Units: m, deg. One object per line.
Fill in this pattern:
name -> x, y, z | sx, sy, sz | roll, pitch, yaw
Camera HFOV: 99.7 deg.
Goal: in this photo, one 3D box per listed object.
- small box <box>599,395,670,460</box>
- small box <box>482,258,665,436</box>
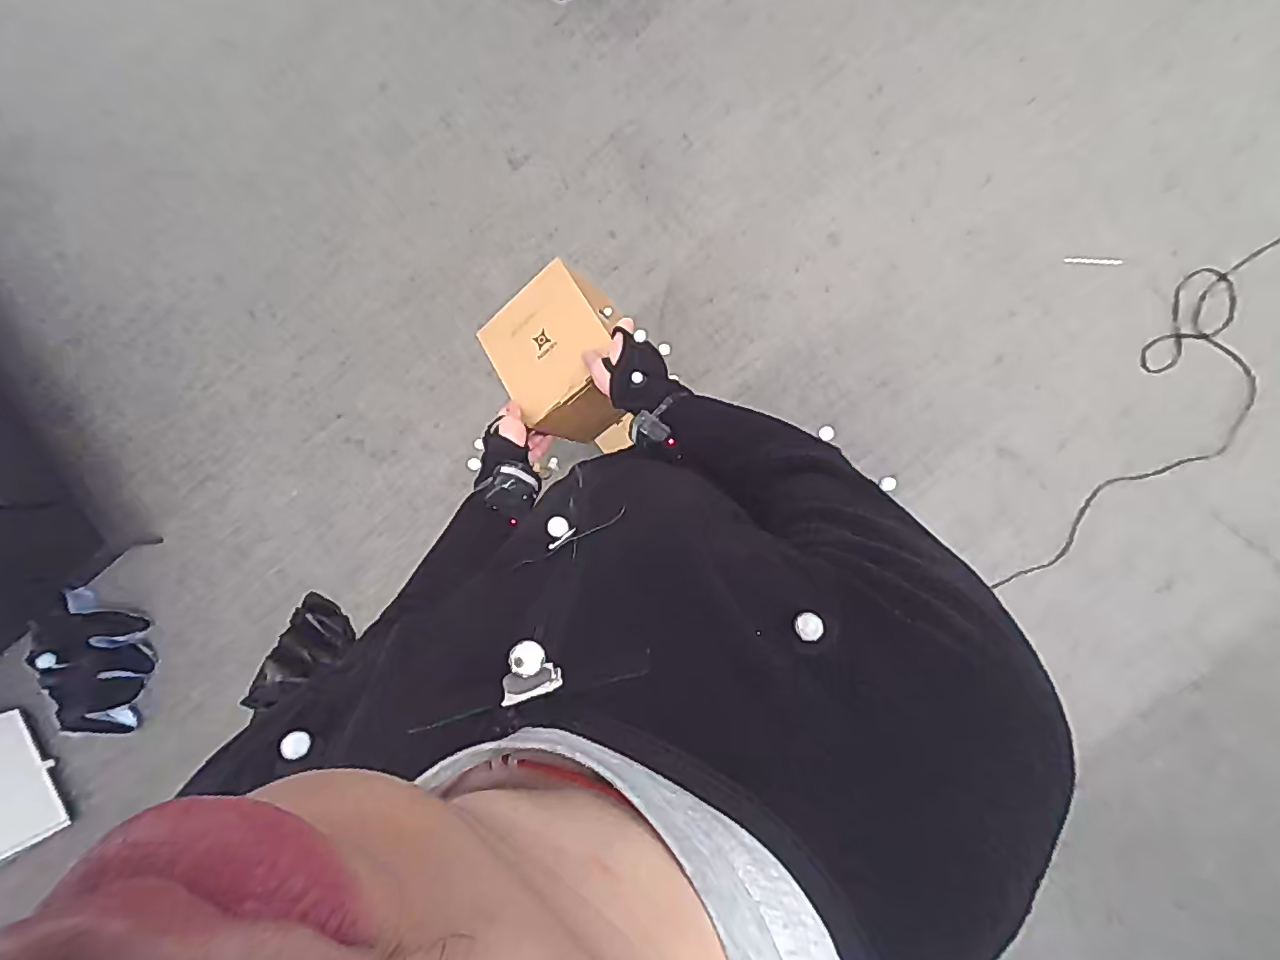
small box -> -0.034, -0.168, 1.473 | 0.168, 0.176, 0.179 | -38, 85, 5
small box -> -0.090, -0.179, 0.796 | 0.168, 0.176, 0.179 | -37, 72, 17
